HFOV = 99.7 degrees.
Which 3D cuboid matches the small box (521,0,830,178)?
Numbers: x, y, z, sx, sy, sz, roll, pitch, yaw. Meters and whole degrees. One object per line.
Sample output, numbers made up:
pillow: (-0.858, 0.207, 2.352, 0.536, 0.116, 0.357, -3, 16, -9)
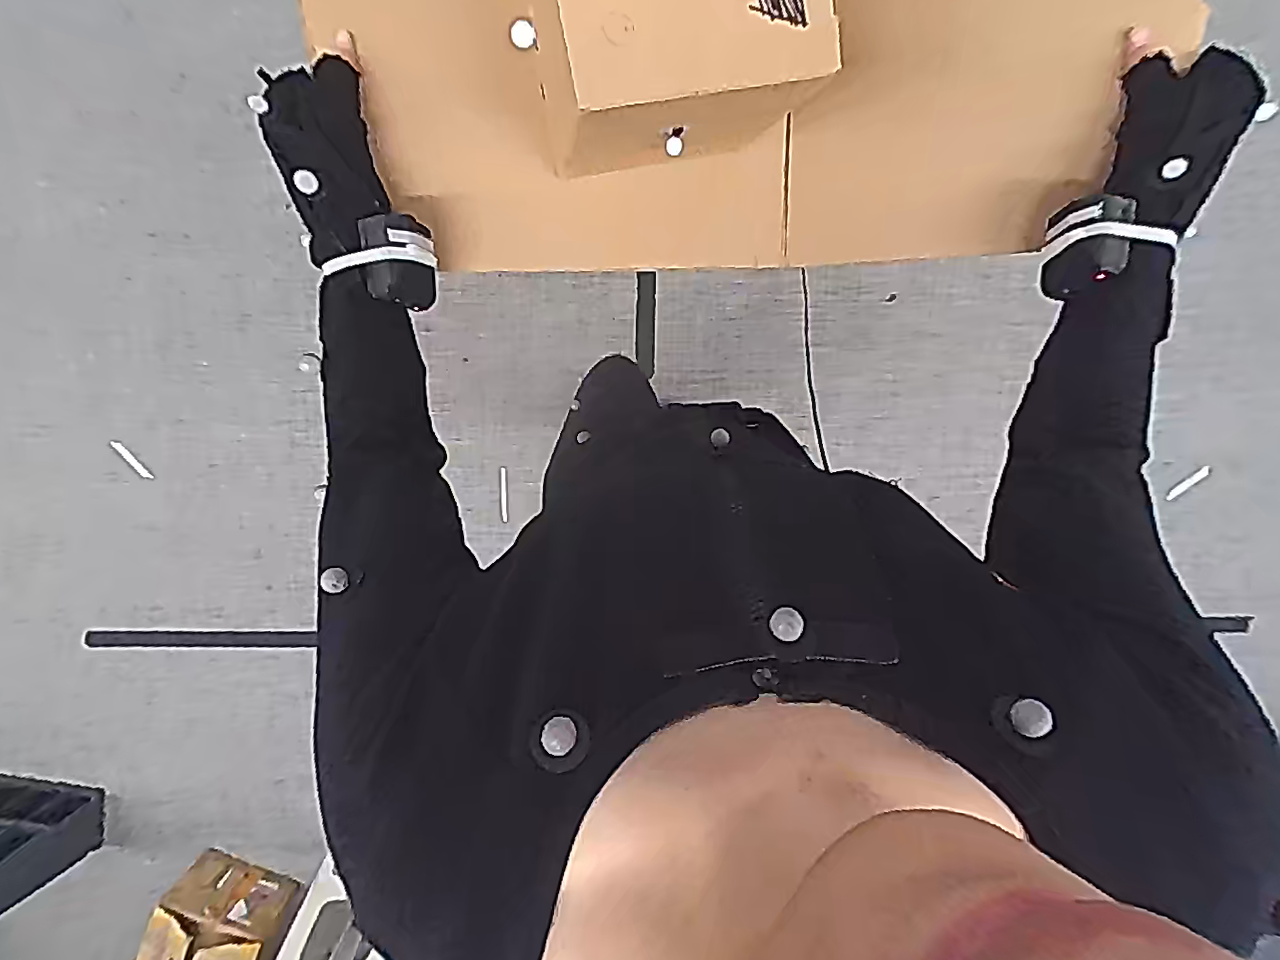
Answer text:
small box: (0.013, -0.342, 0.397, 0.179, 0.176, 0.168, -14, 108, -8)
